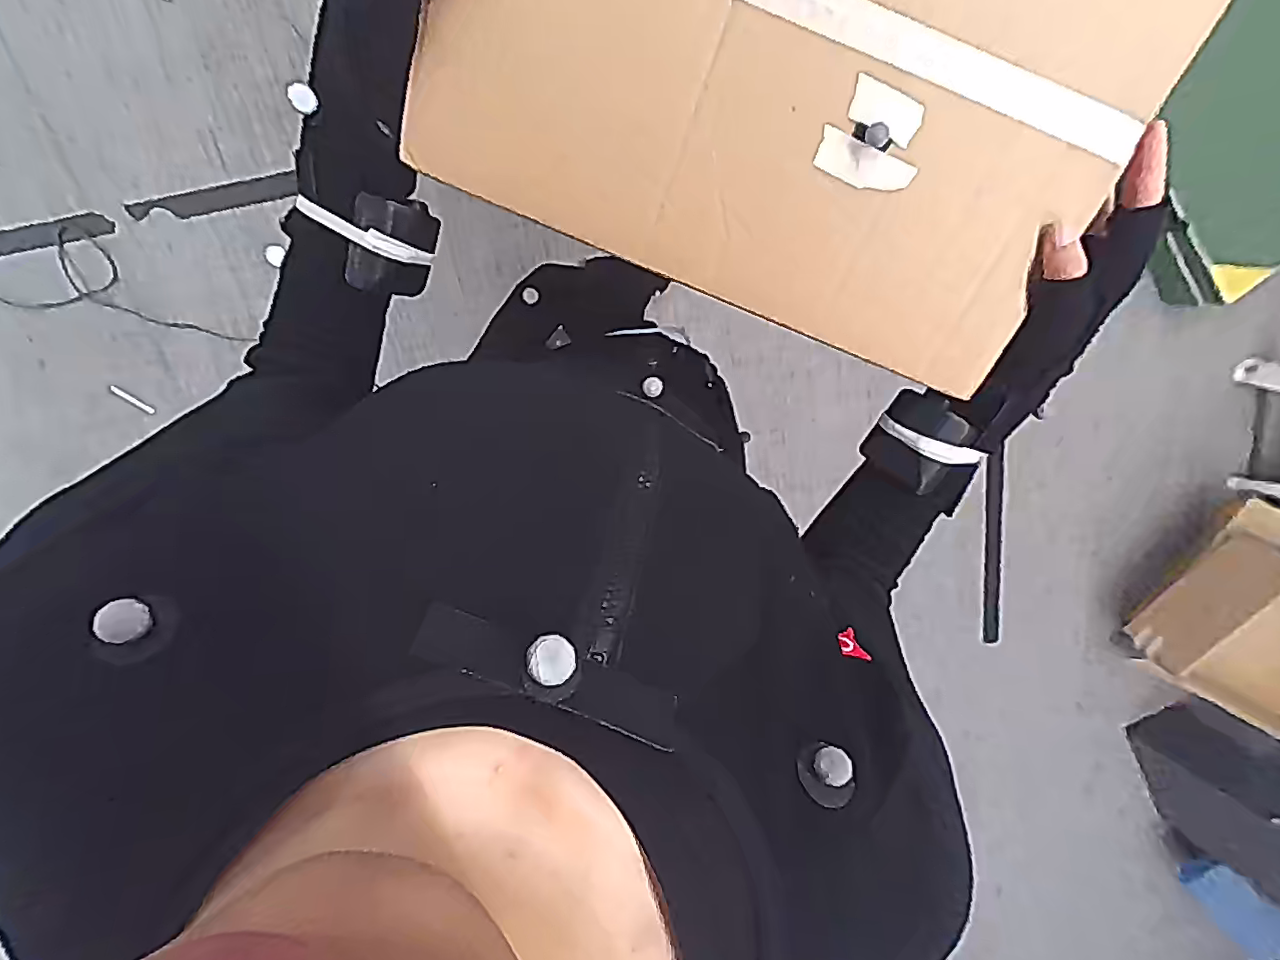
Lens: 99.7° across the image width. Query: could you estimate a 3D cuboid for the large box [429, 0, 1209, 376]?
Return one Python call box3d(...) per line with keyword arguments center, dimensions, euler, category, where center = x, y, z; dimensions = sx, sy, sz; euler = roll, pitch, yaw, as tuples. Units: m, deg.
box3d(center=(0.108, -0.327, 0.445), dimensions=(0.408, 0.320, 0.320), euler=(22, 114, -4), category="large box")
